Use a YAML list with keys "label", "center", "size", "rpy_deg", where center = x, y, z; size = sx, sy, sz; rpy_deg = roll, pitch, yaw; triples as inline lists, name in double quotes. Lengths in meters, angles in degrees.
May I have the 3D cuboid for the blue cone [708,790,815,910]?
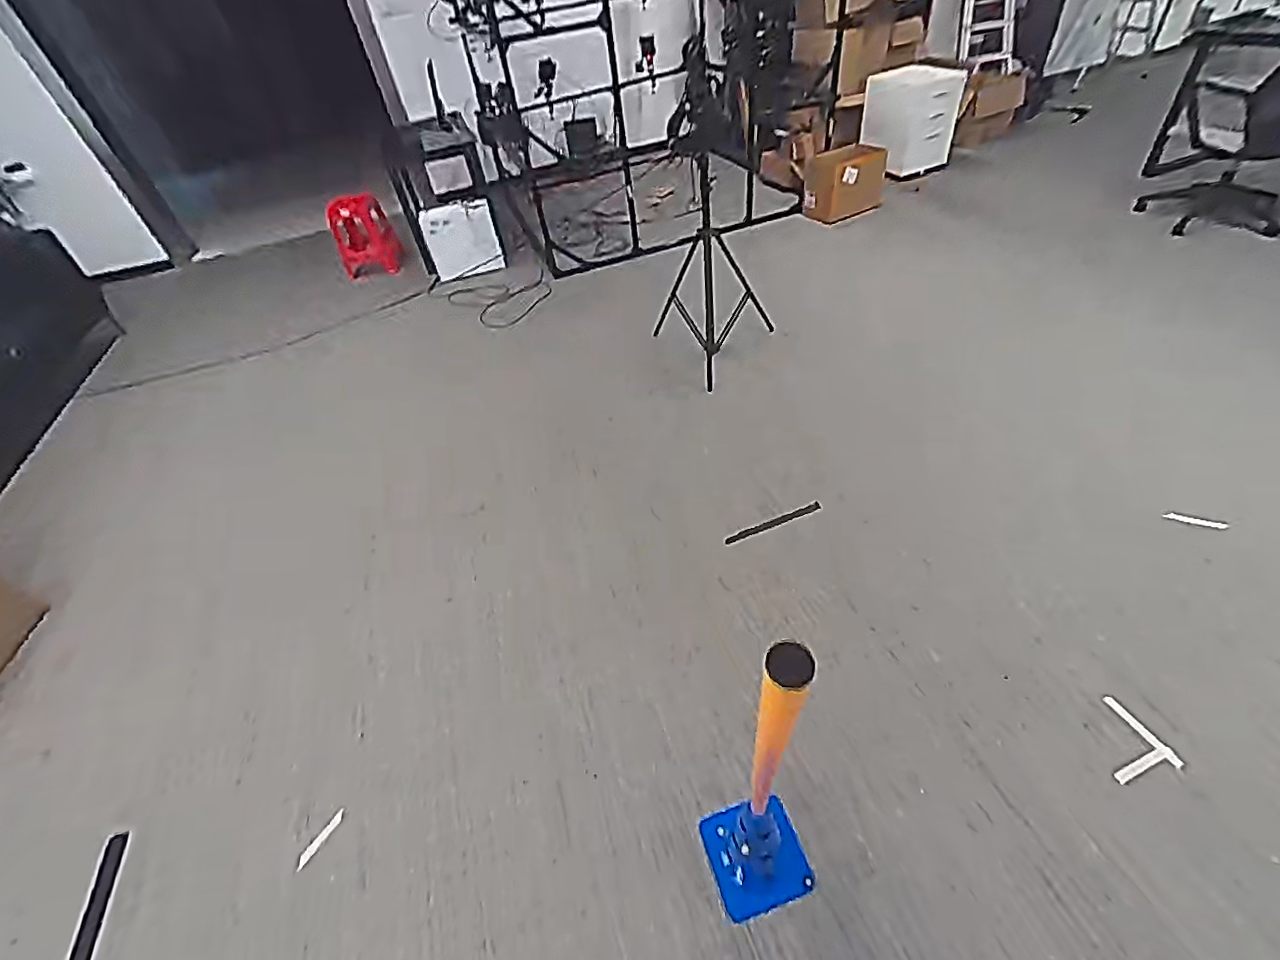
- label: "blue cone"
  center: [0.238, 0.695, 1.073]
  size: [0.192, 0.380, 0.193]
  rpy_deg: [-16, 44, -7]
